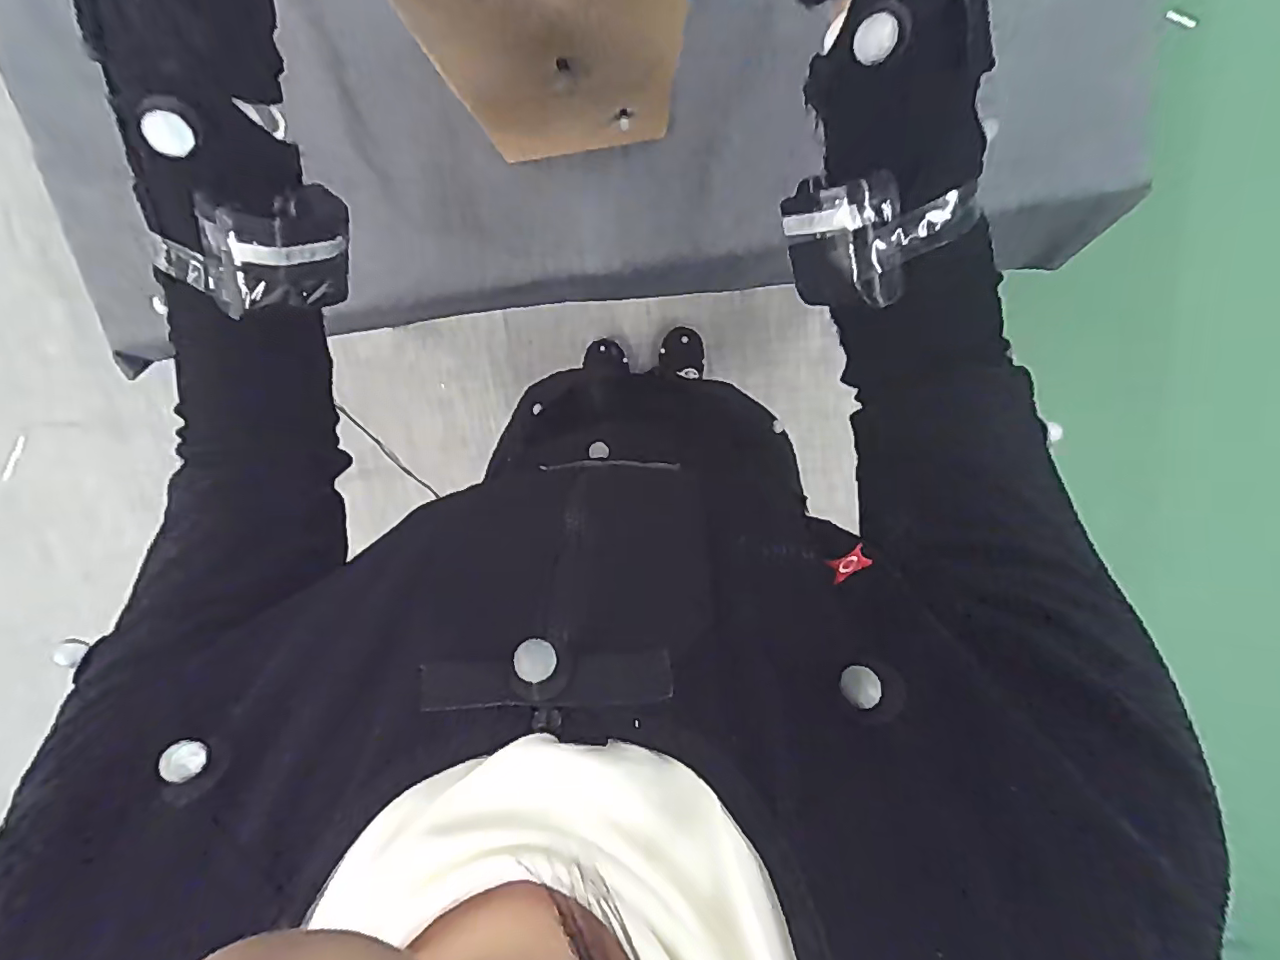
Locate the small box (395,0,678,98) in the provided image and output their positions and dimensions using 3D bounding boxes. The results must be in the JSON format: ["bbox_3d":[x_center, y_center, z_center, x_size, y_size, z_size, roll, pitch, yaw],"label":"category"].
[{"bbox_3d":[-0.067,-0.376,0.343,0.179,0.176,0.168,-7,104,0],"label":"small box"}]

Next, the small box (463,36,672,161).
[{"bbox_3d":[-0.072,-0.421,0.500,0.179,0.176,0.168,-9,104,3],"label":"small box"}]
